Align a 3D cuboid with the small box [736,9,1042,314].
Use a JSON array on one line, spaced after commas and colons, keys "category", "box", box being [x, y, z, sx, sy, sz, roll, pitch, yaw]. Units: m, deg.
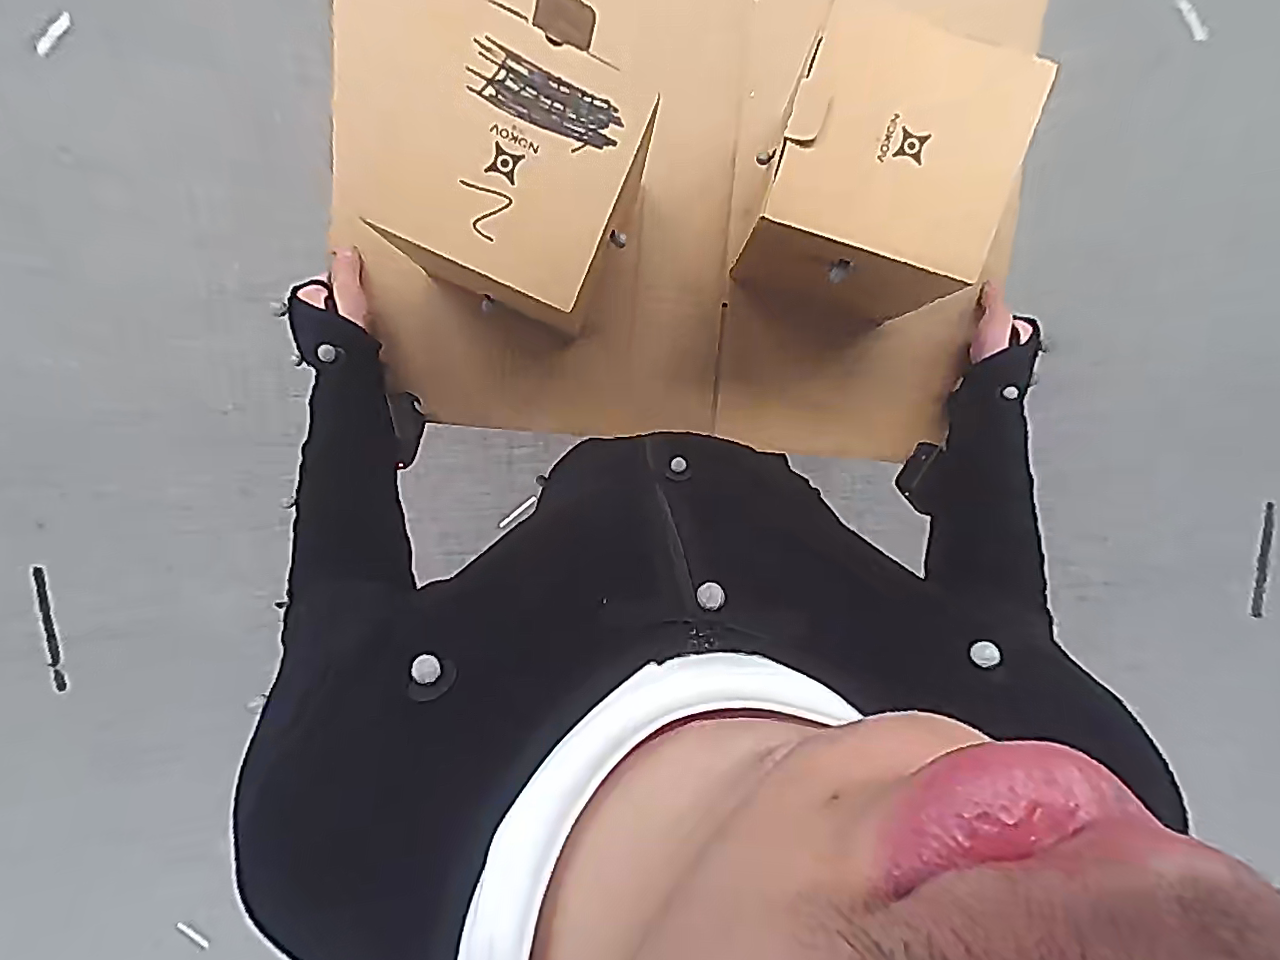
[{"category": "small box", "box": [0.203, -0.265, 0.499, 0.179, 0.176, 0.168, 18, 97, 0]}]
